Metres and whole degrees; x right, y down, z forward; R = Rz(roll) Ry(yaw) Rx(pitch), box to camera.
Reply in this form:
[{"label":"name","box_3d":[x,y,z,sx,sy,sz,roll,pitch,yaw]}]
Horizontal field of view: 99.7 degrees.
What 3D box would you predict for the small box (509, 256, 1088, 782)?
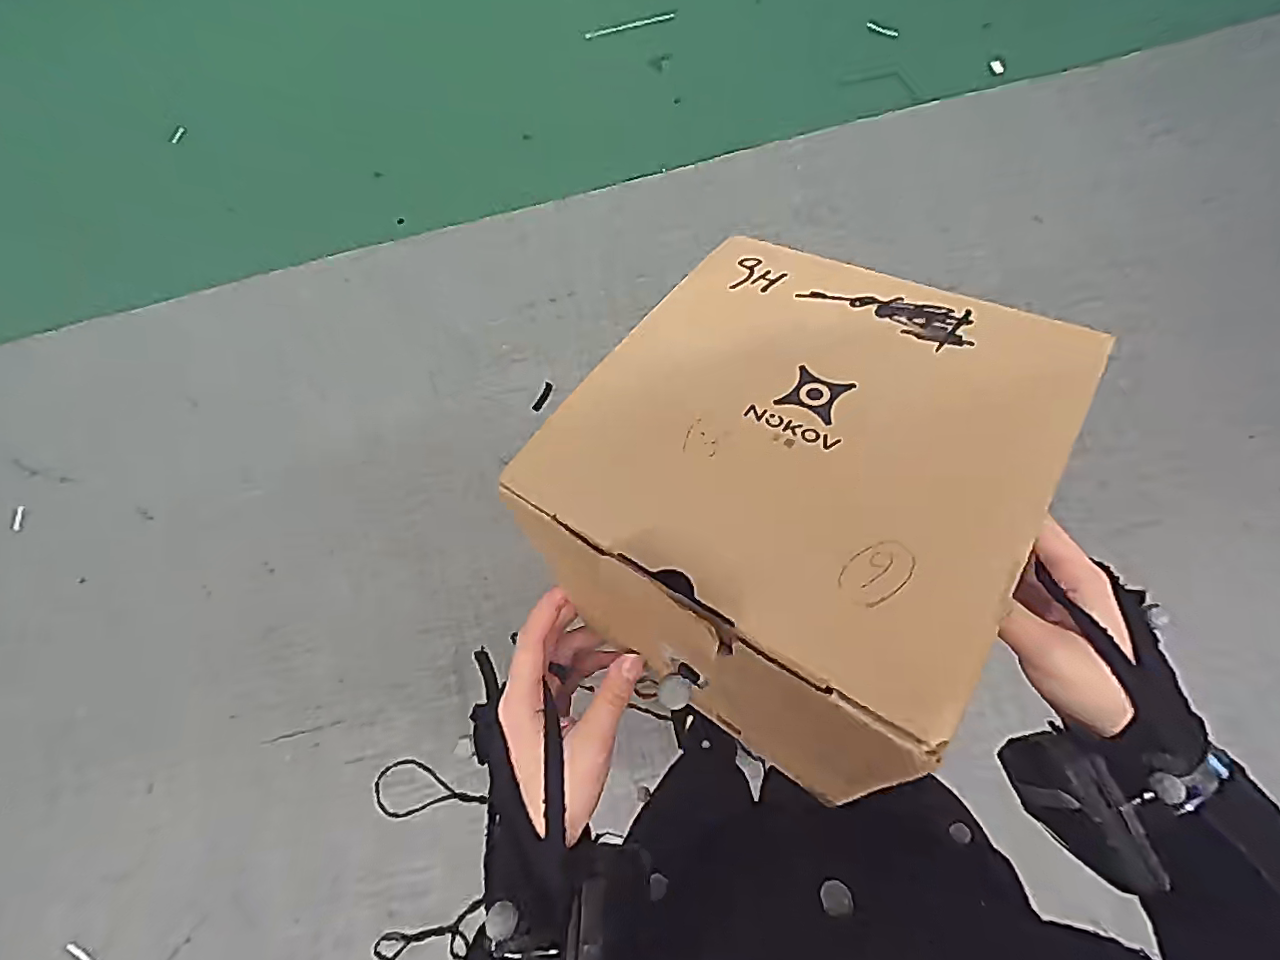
[{"label":"small box","box_3d":[0.072,0.025,0.278,0.168,0.176,0.179,28,66,25]}]
